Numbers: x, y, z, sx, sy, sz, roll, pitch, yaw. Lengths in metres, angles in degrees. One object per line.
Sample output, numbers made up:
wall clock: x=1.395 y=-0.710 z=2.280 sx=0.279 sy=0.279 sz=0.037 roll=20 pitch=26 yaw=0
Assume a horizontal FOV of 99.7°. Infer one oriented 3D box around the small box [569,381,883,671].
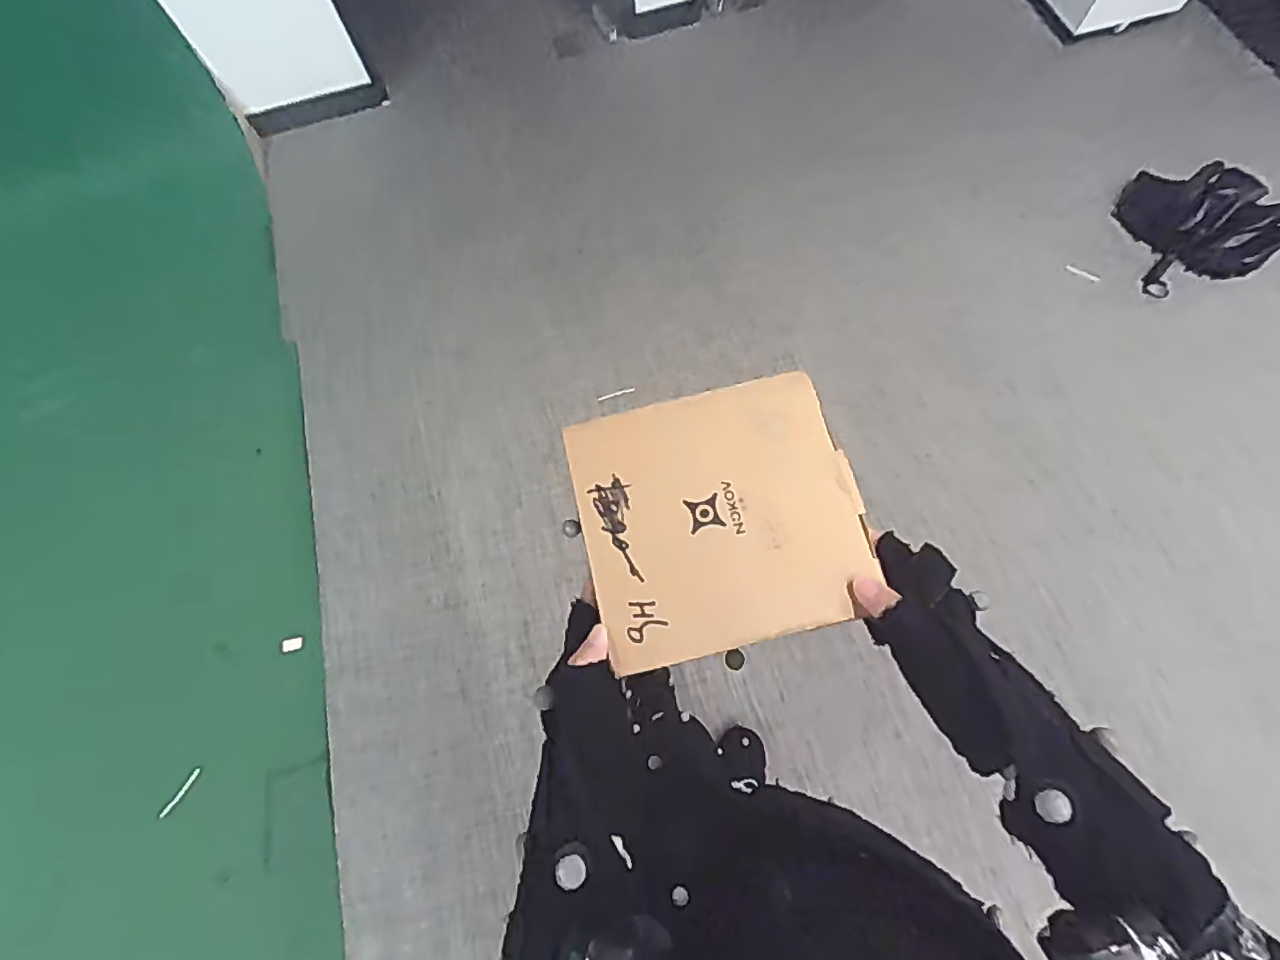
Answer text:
small box: x=0.052 y=0.047 z=0.428 sx=0.179 sy=0.176 sz=0.168 roll=-13 pitch=71 yaw=-3
